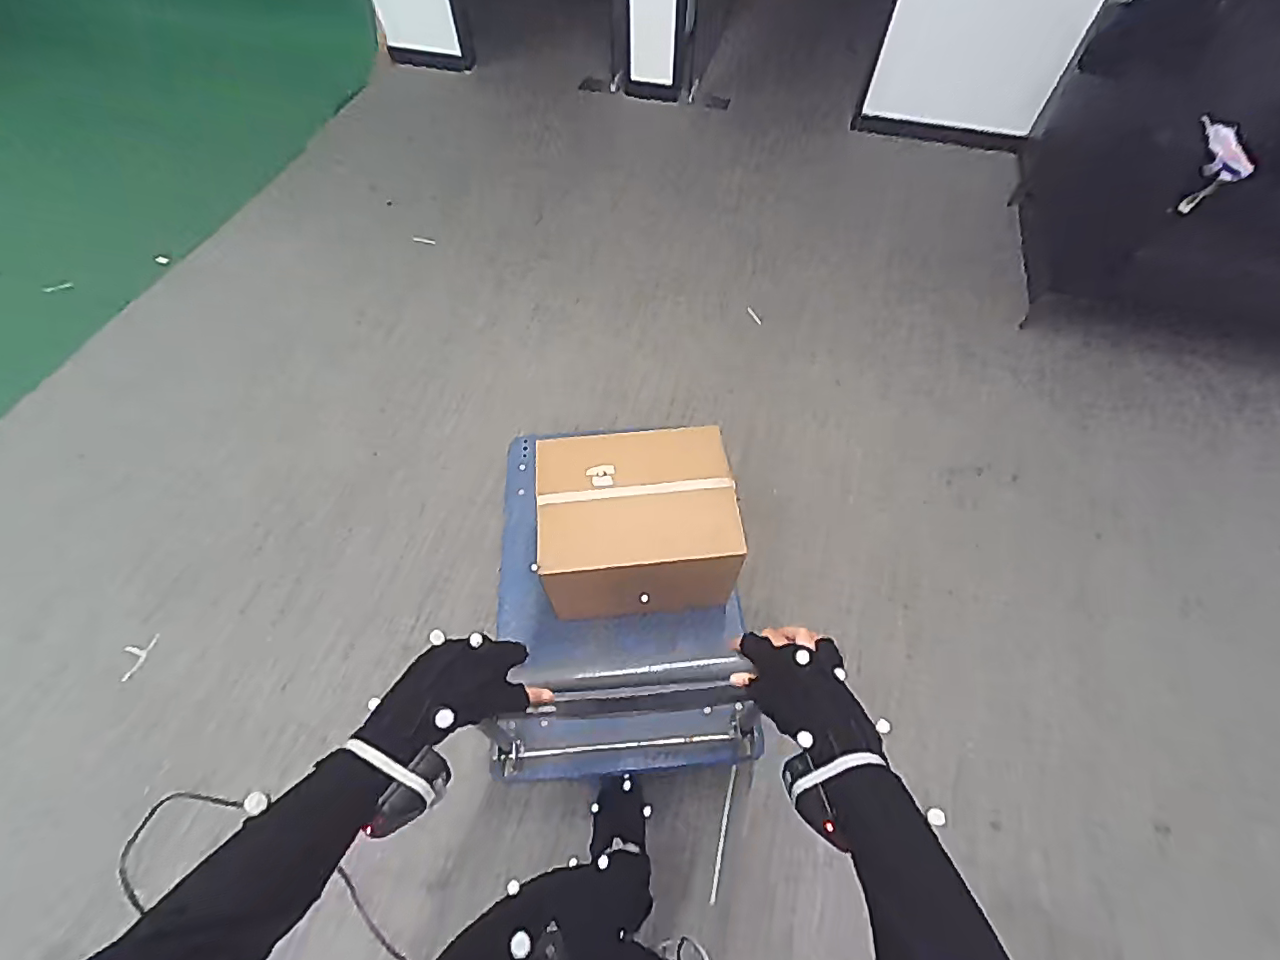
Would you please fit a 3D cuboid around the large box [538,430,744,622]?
[{"bbox_3d":[-0.005,0.116,1.248,0.408,0.320,0.320,-6,58,-2],"label":"large box"}]
